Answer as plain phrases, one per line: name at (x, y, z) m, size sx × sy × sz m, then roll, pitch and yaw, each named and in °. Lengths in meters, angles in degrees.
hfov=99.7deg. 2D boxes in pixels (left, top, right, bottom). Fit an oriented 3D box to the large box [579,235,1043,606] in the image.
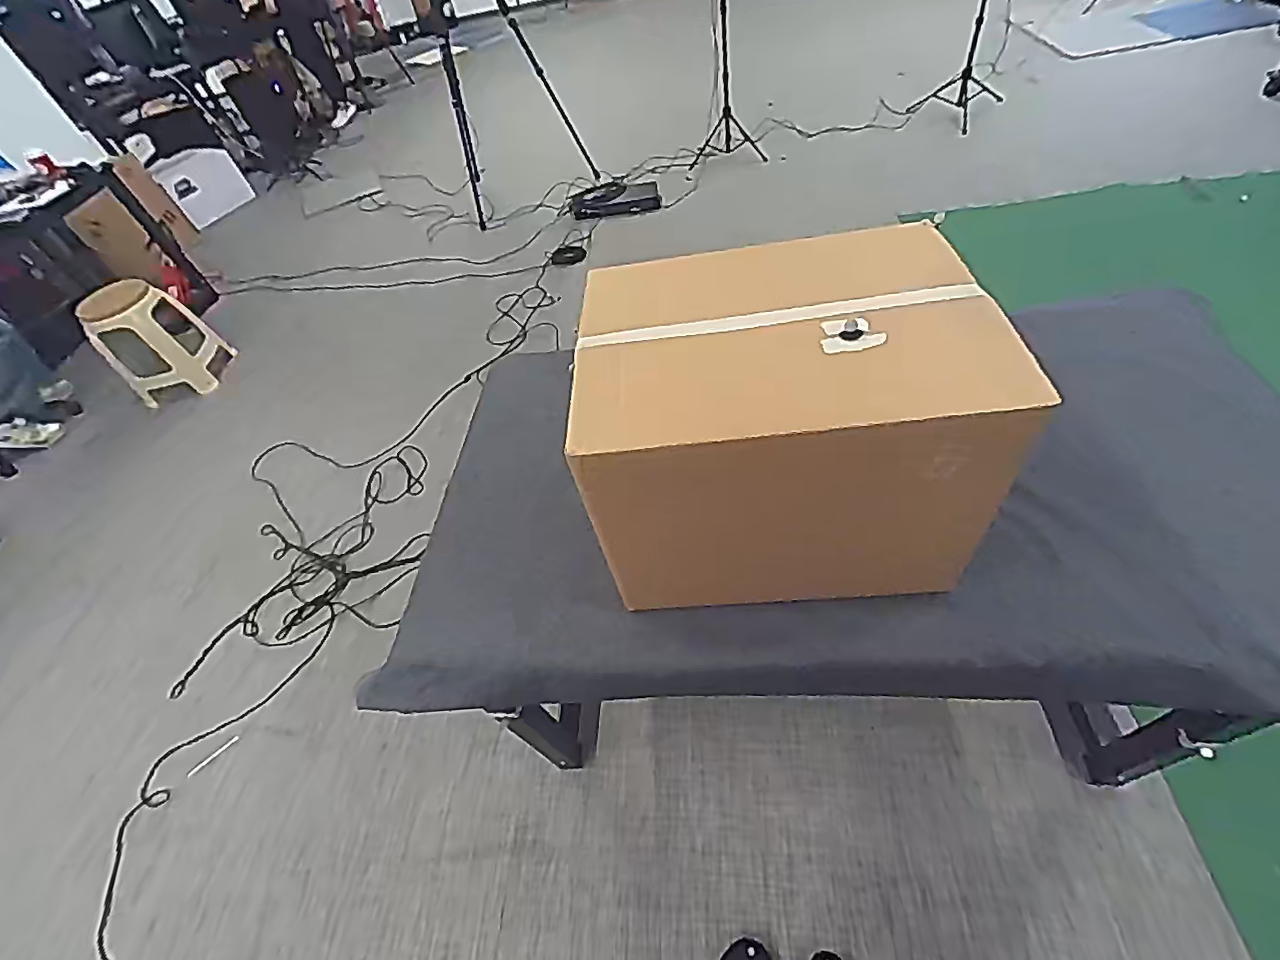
large box at (0.158, -0.060, 0.672) m, size 0.408 × 0.320 × 0.320 m, roll -5°, pitch 51°, yaw 6°
